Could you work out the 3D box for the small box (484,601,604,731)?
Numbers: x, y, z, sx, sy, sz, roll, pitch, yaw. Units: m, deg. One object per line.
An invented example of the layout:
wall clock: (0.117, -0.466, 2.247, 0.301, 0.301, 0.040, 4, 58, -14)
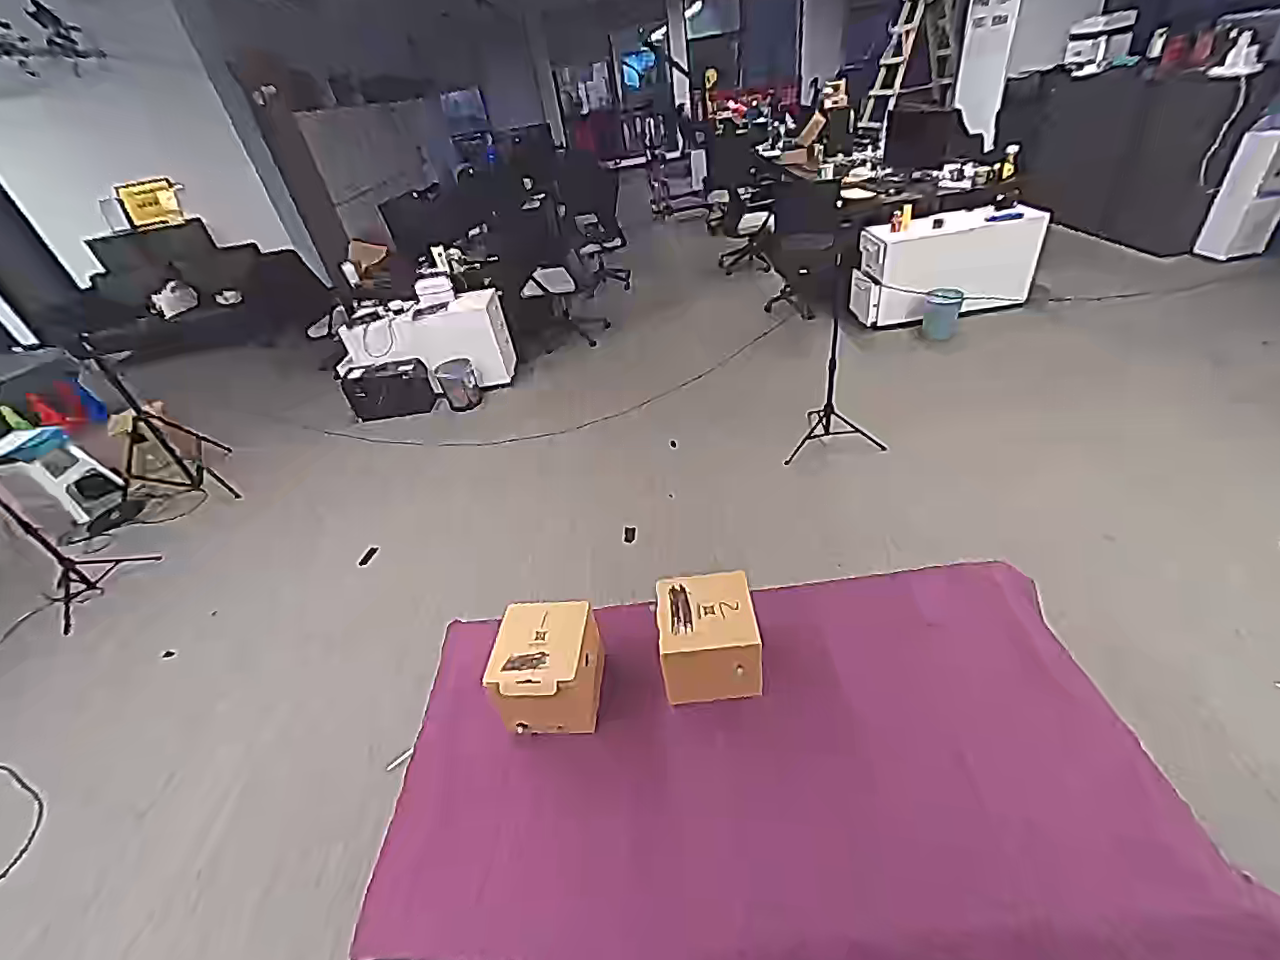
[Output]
small box: (-0.169, 0.353, 1.021, 0.168, 0.176, 0.179, -4, 37, 8)
